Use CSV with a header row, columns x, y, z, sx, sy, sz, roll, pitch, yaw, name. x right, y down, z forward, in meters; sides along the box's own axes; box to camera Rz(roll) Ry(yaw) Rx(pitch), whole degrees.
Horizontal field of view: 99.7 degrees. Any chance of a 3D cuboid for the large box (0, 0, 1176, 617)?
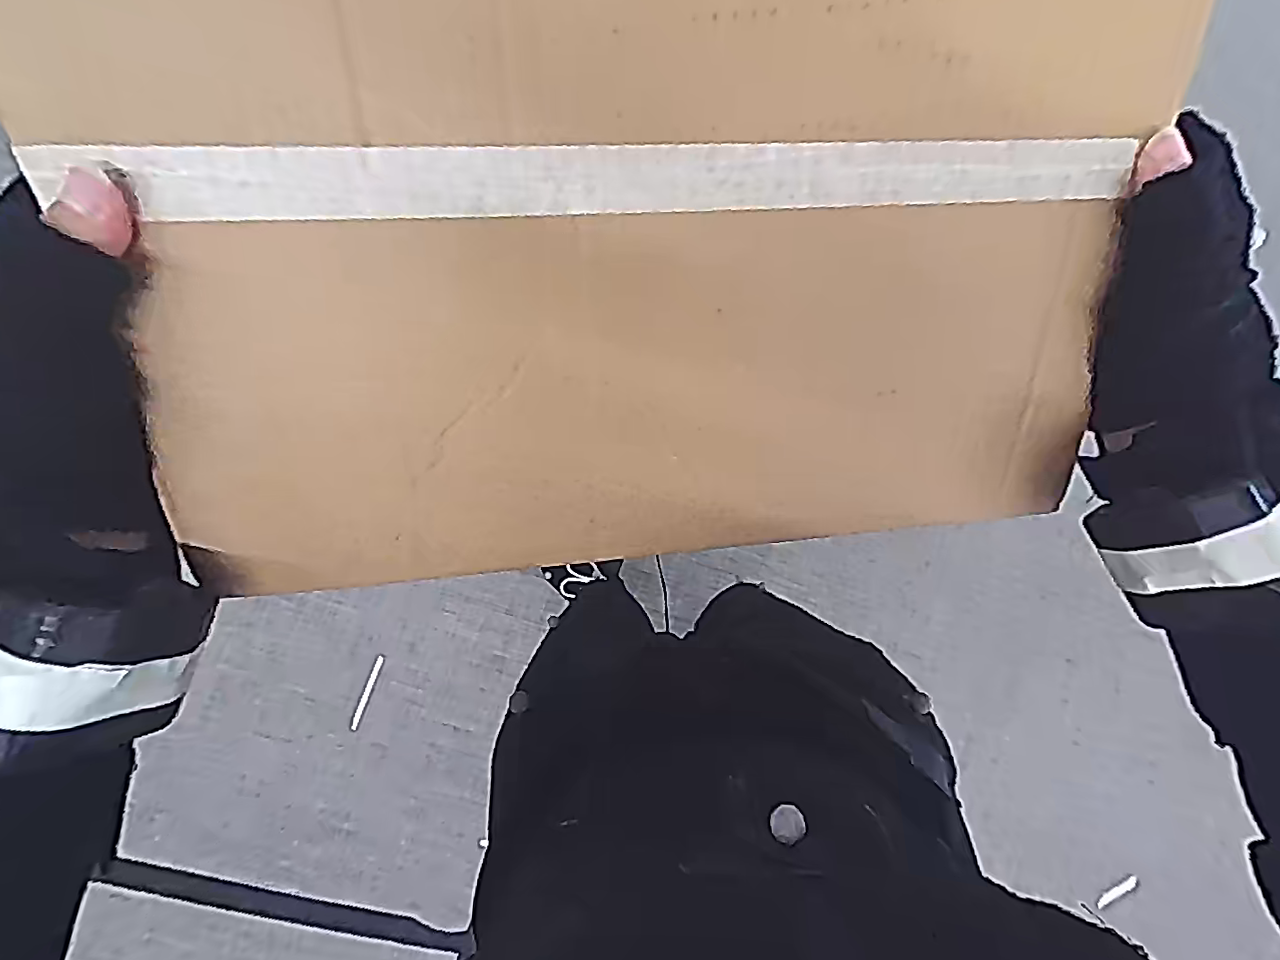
x,y,z,sx,sy,sz,roll,pitch,yaw,name
-0.016,-0.159,0.341,0.408,0.320,0.320,-6,114,-8,large box
